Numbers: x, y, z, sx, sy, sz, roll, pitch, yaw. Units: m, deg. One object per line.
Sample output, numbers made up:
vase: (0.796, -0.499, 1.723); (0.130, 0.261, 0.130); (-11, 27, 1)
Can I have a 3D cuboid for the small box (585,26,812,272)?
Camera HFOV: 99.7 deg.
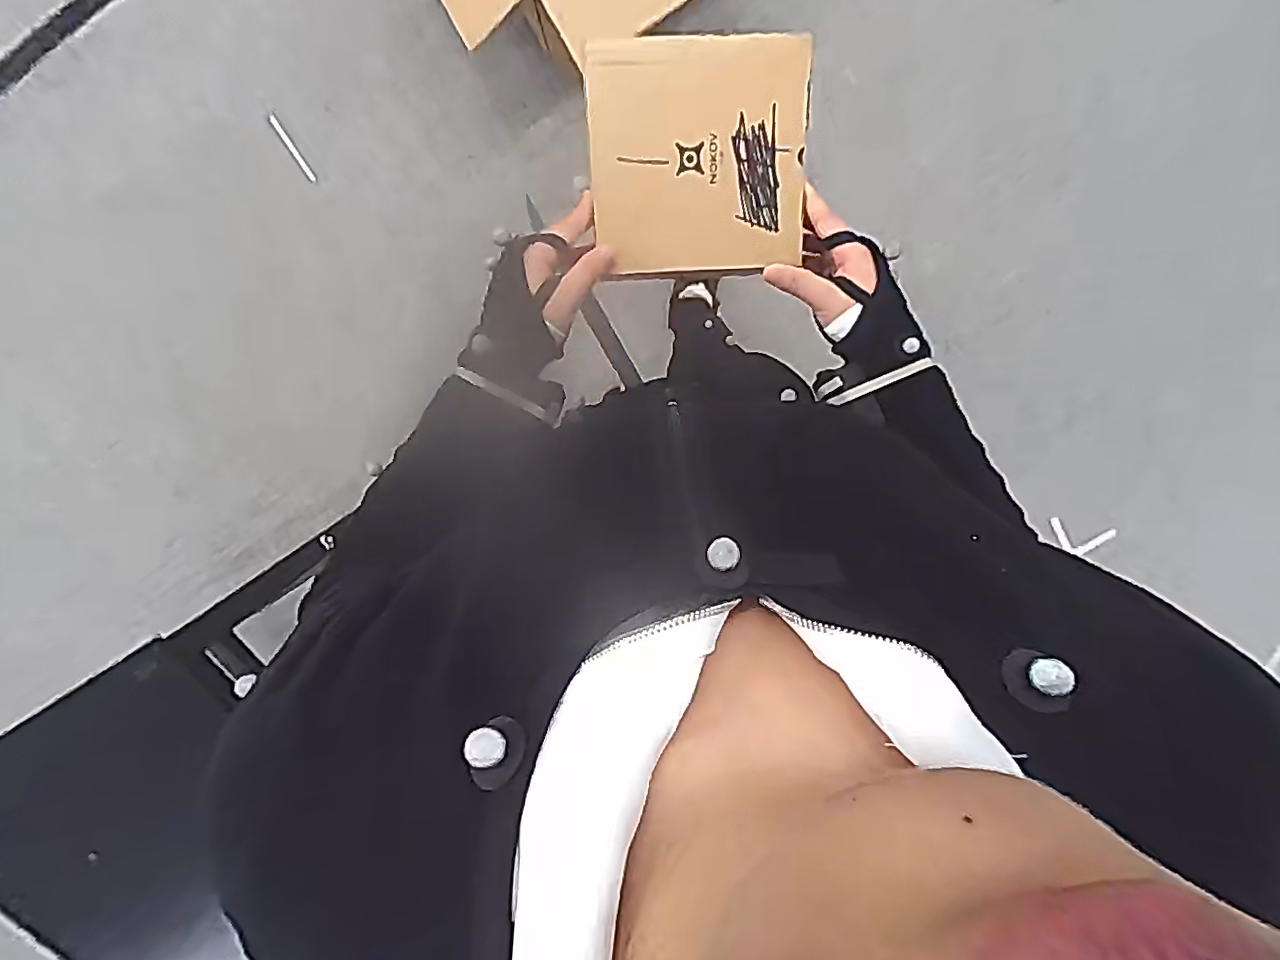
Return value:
small box: (0.041, -0.288, 0.505); (0.179, 0.176, 0.168); (-3, 109, -3)
